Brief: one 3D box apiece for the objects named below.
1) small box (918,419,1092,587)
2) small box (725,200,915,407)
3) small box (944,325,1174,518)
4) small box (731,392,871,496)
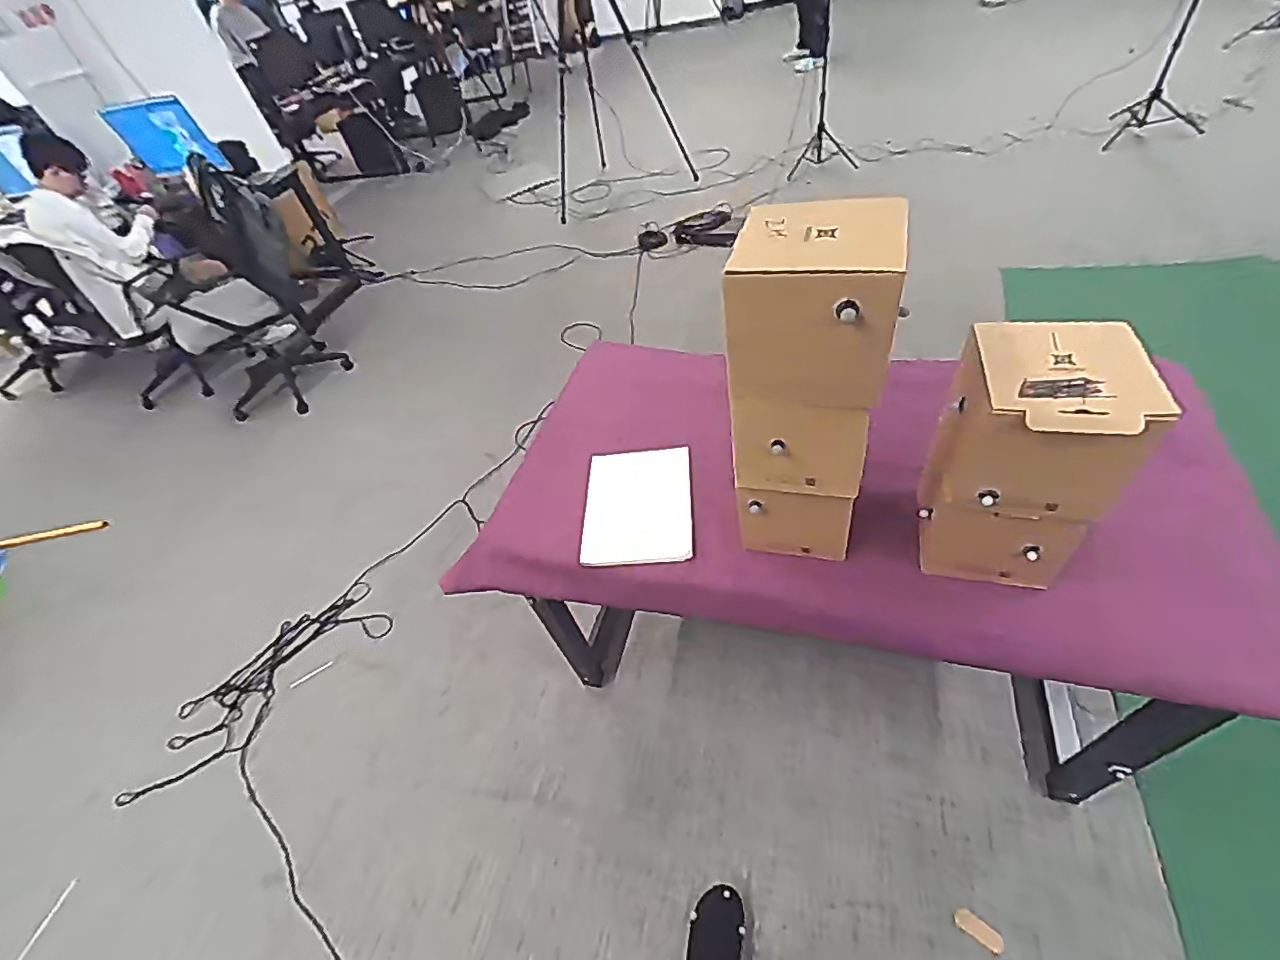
[{"bbox_3d":[0.515,0.034,0.792,0.168,0.176,0.179,7,49,18],"label":"small box"},{"bbox_3d":[0.206,-0.202,0.628,0.179,0.176,0.168,8,49,20],"label":"small box"},{"bbox_3d":[0.491,-0.072,0.669,0.168,0.176,0.179,6,49,17],"label":"small box"},{"bbox_3d":[0.229,-0.097,0.754,0.168,0.176,0.179,6,49,19],"label":"small box"}]
